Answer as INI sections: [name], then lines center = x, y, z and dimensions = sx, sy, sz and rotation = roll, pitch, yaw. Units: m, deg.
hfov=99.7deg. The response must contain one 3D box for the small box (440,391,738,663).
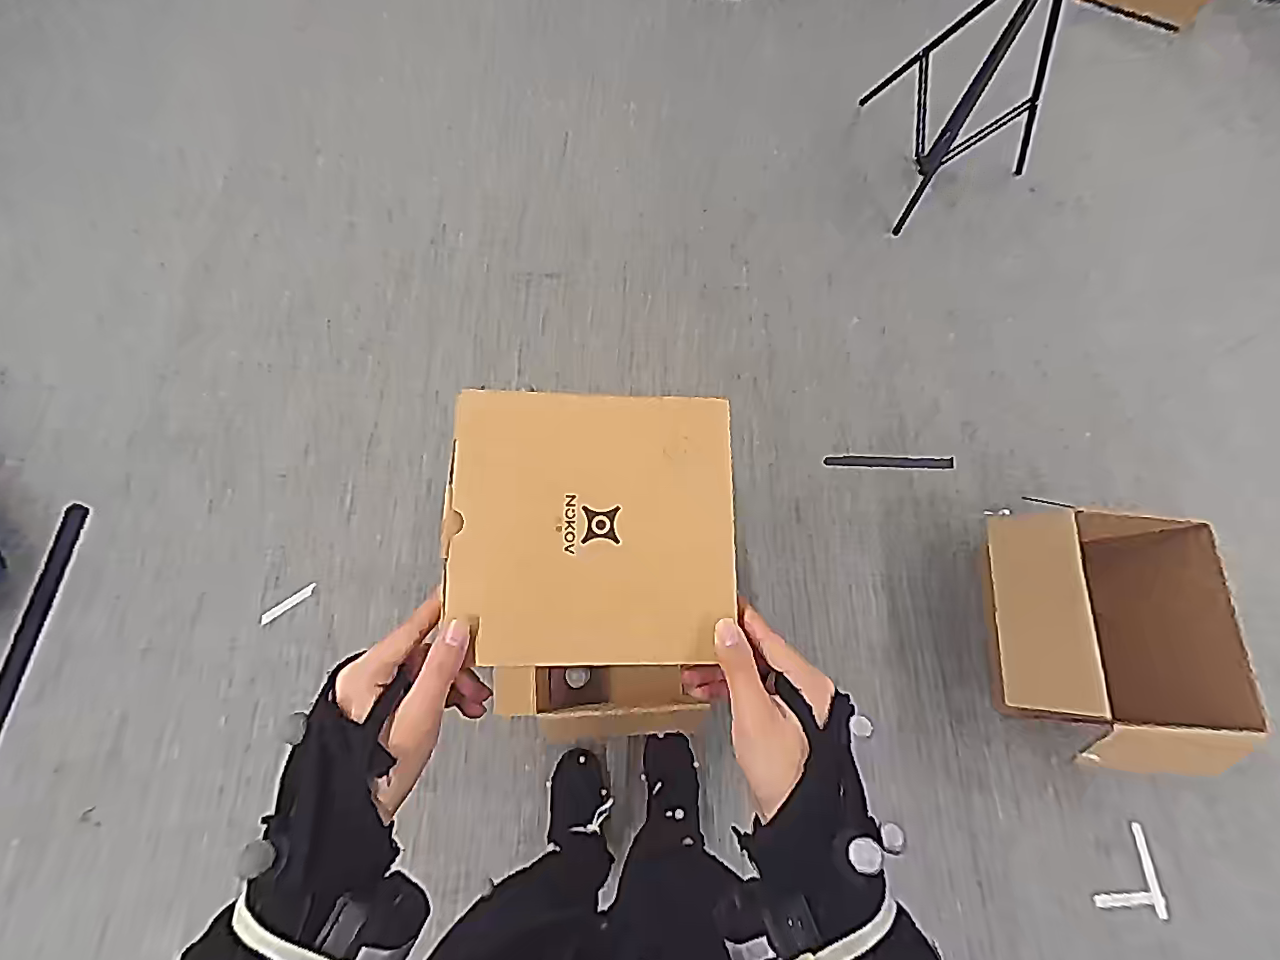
[small box]
center = -0.034, 0.041, 0.407
dimensions = 0.179, 0.176, 0.168
rotation = 0, 78, -4
